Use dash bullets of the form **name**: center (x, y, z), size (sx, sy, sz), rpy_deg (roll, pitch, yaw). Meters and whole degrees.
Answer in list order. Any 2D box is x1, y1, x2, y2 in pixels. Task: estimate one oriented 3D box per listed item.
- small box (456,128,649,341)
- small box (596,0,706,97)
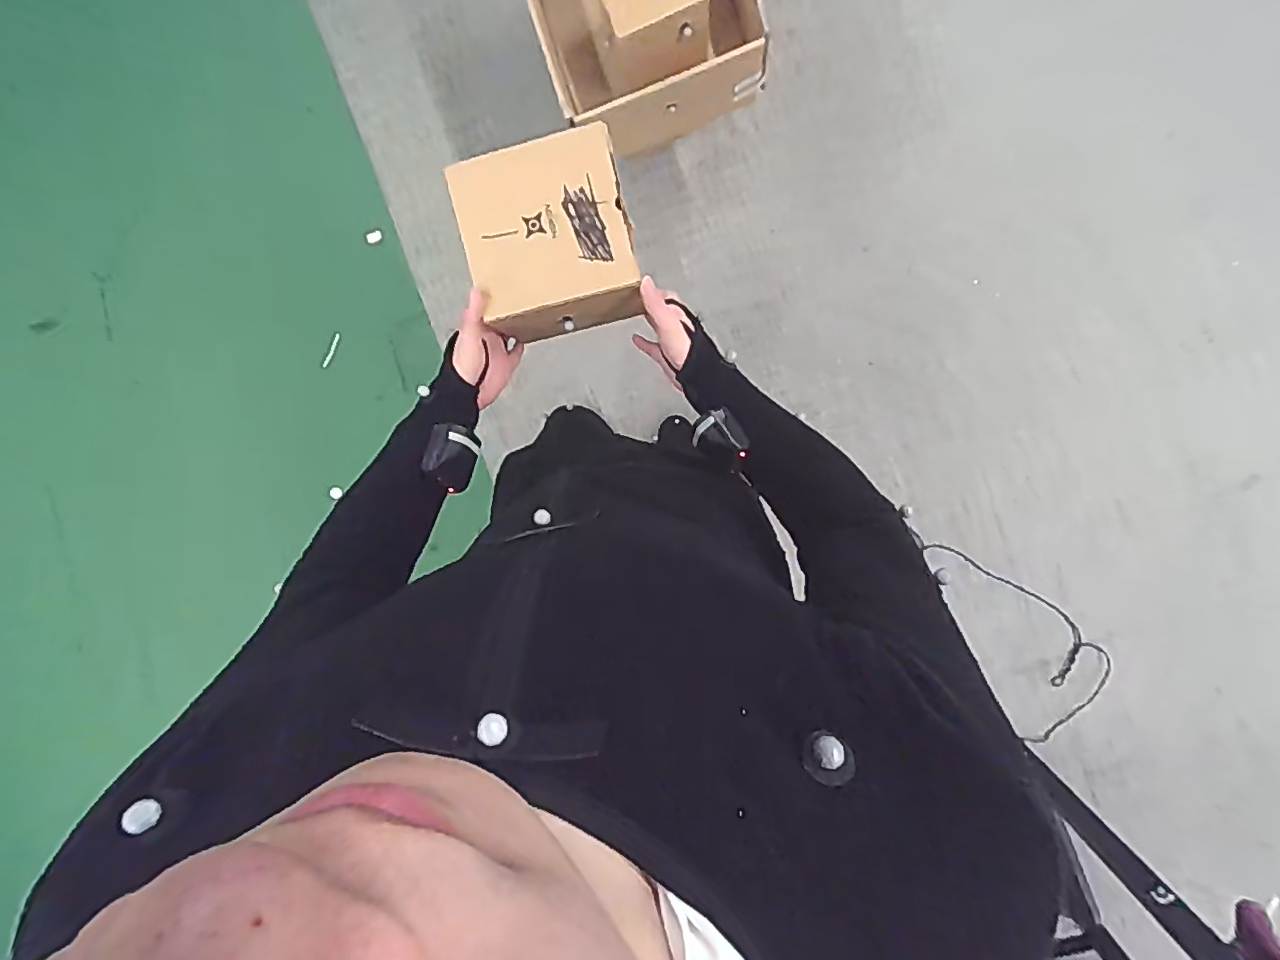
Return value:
- **small box**: center (-0.089, -0.272, 0.641), size (0.179, 0.176, 0.168), rpy_deg (-12, 95, 3)
- **small box**: center (0.017, -0.885, 1.027), size (0.179, 0.176, 0.168), rpy_deg (-19, 92, 8)
